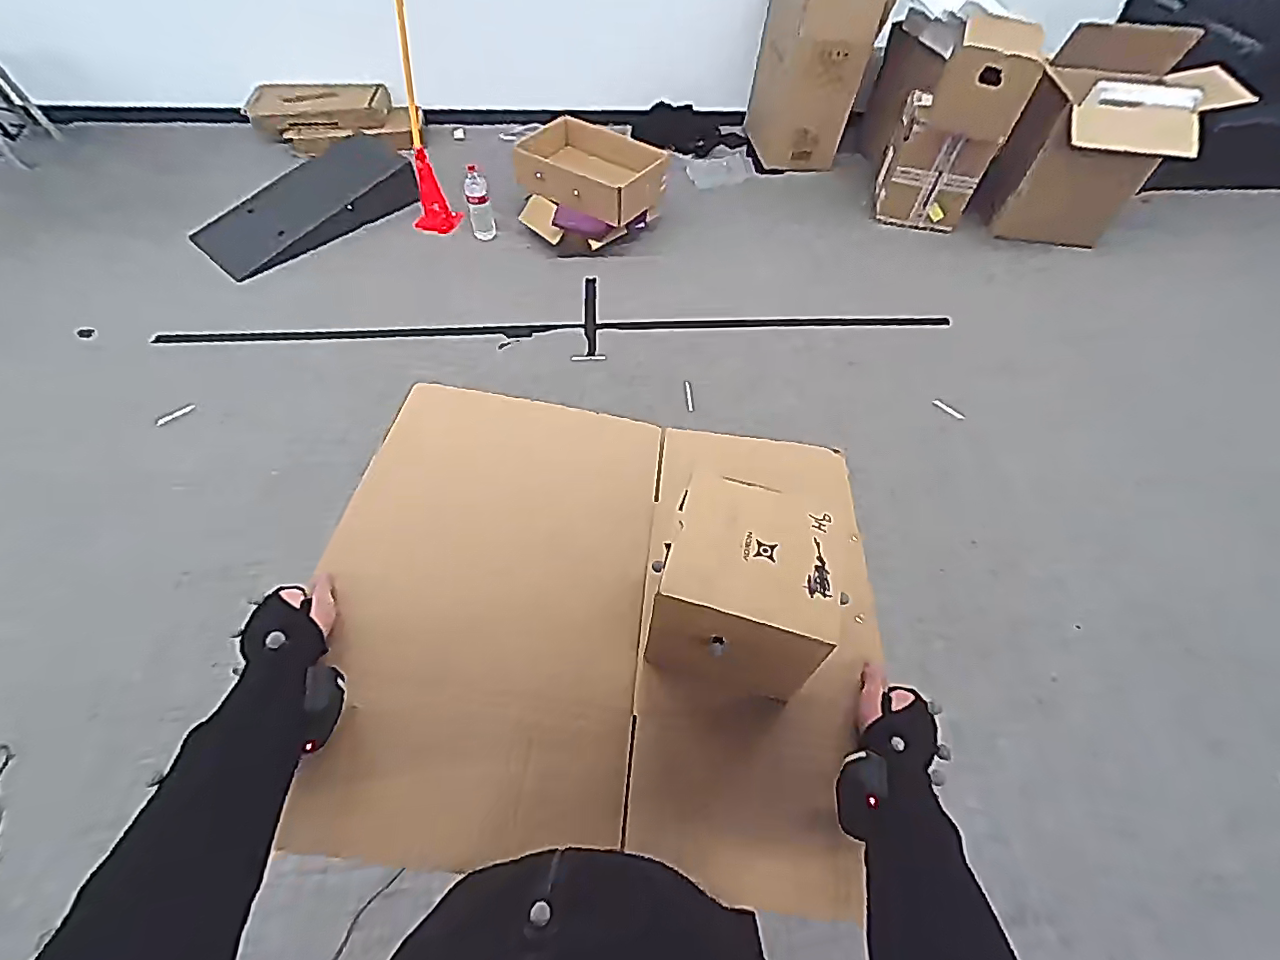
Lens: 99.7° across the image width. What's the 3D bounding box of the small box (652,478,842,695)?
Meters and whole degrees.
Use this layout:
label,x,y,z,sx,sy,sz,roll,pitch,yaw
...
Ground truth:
label,x,y,z,sx,sy,sz,roll,pitch,yaw
small box,0.118,0.127,0.628,0.179,0.176,0.168,14,51,8
